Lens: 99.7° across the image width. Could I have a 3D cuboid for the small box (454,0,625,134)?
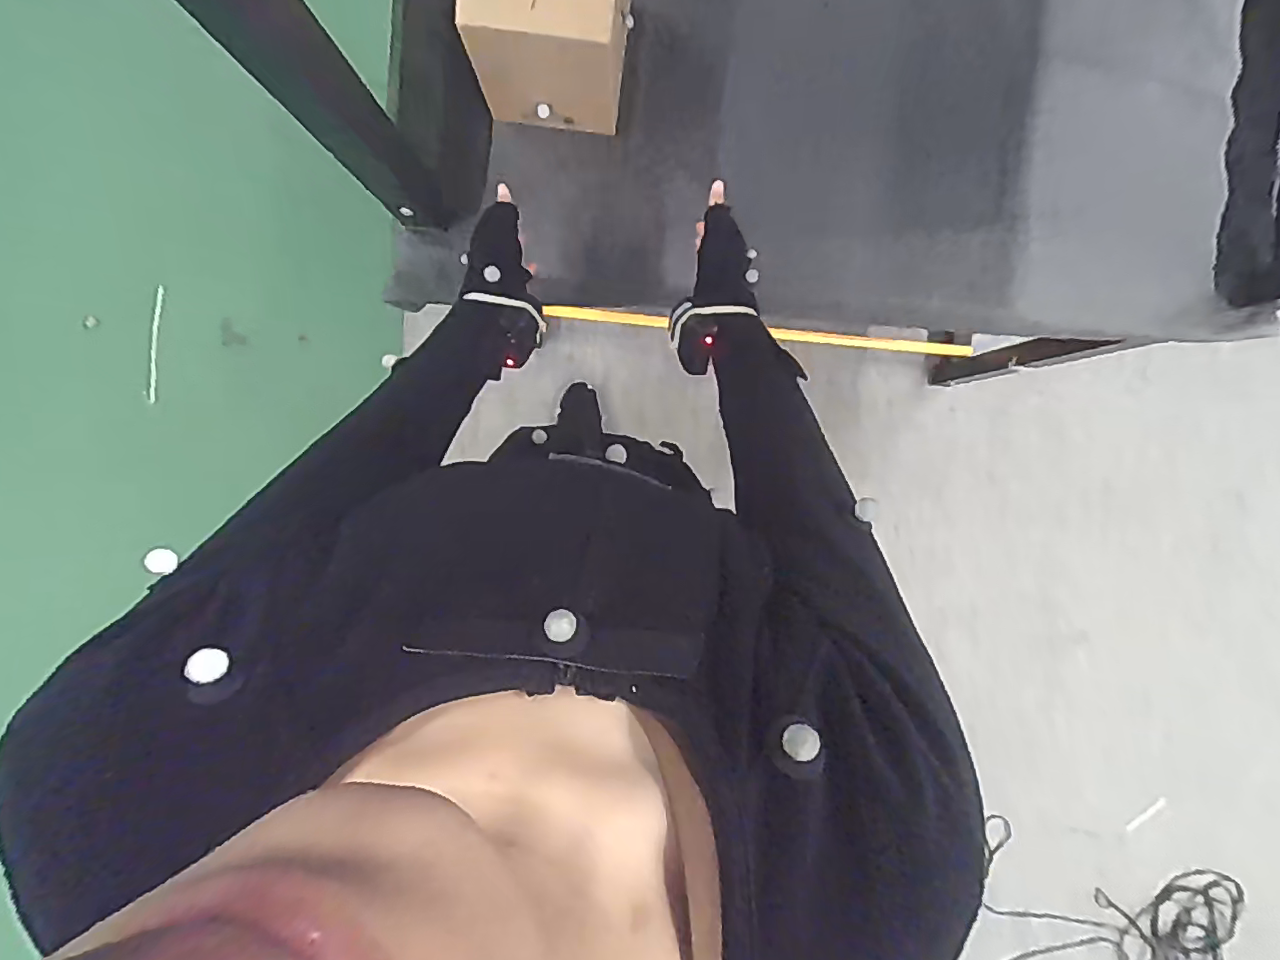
[{"bbox_3d":[-0.106,-0.555,0.639,0.168,0.176,0.179,6,93,-2],"label":"small box"}]
